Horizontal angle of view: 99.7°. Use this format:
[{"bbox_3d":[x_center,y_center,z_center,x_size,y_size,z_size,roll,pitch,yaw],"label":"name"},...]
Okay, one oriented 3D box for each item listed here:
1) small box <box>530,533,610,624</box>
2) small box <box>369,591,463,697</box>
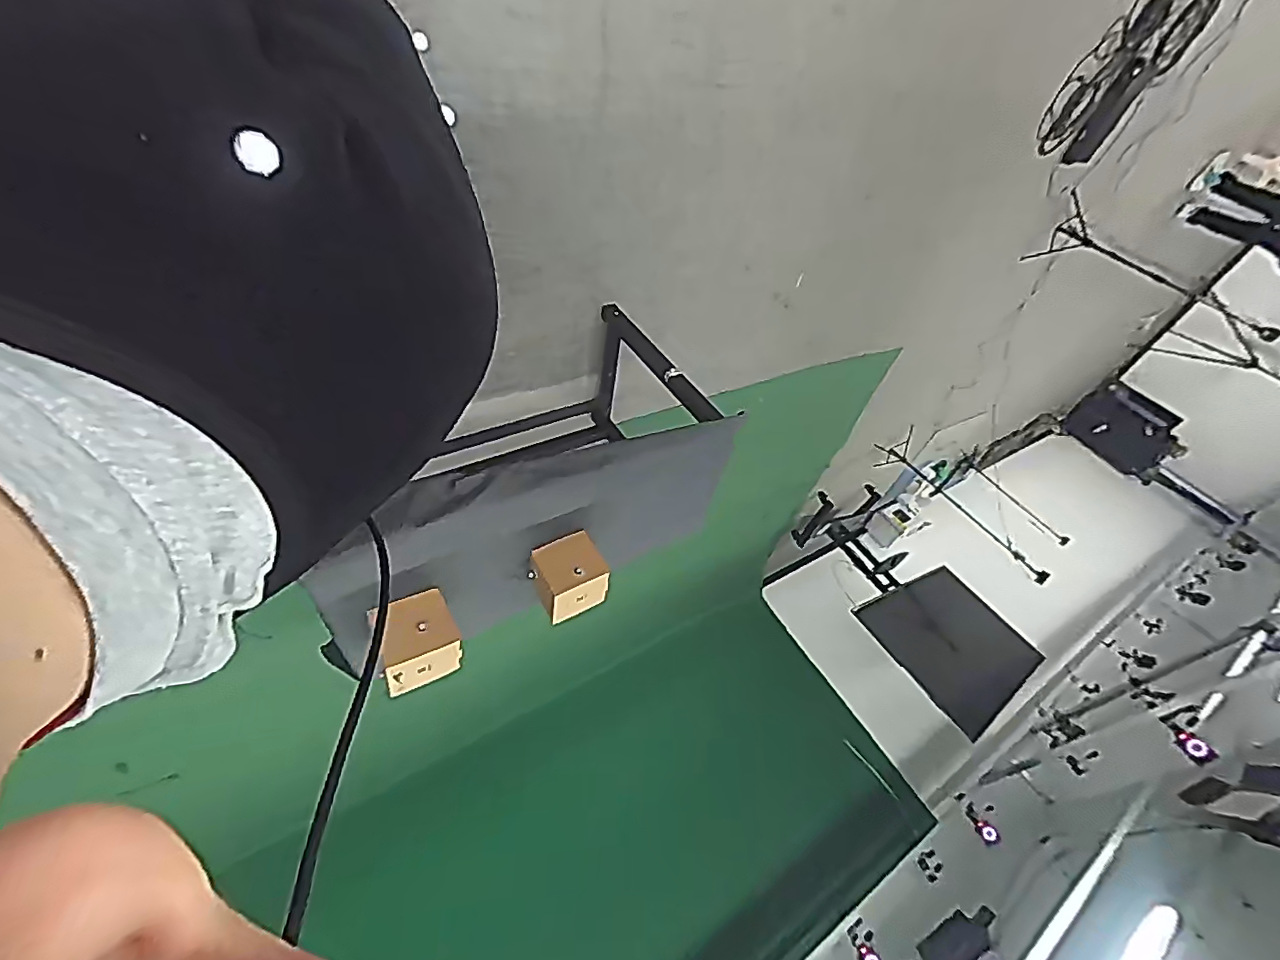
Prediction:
[{"bbox_3d":[-0.209,0.284,1.589,0.179,0.176,0.168,-20,144,-26],"label":"small box"},{"bbox_3d":[-0.569,0.413,1.381,0.179,0.176,0.168,-17,144,-32],"label":"small box"}]
